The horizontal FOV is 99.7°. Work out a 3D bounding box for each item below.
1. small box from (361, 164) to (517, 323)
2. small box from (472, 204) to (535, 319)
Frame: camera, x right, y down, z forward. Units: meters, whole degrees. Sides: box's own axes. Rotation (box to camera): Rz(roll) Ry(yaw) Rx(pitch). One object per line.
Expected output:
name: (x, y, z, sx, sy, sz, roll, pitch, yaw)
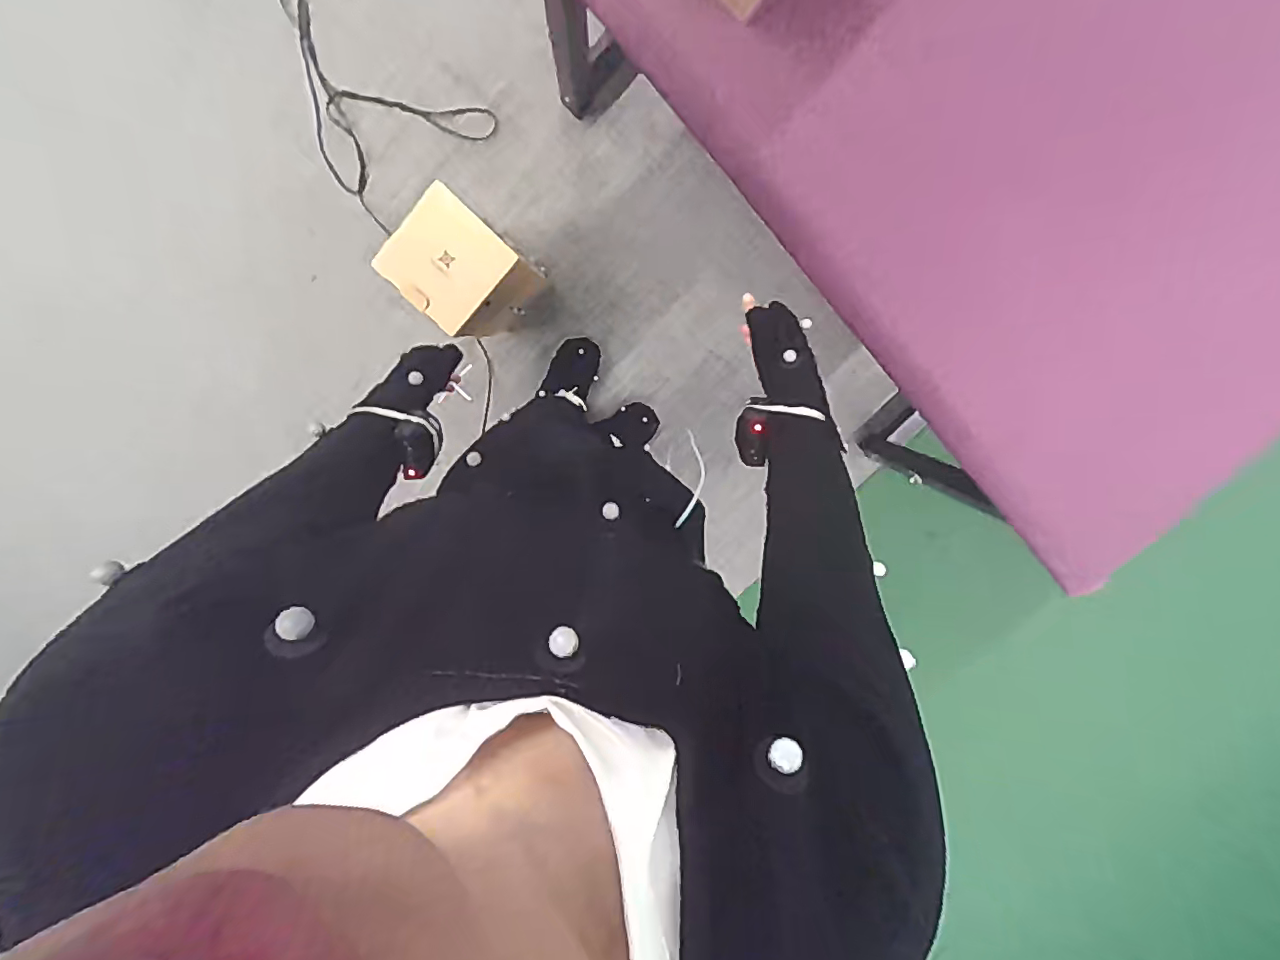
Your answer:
small box: (-0.328, -0.394, 0.927, 0.168, 0.176, 0.179, 42, 101, -15)
small box: (-0.357, -0.492, 1.239, 0.179, 0.176, 0.168, -42, 105, 9)
